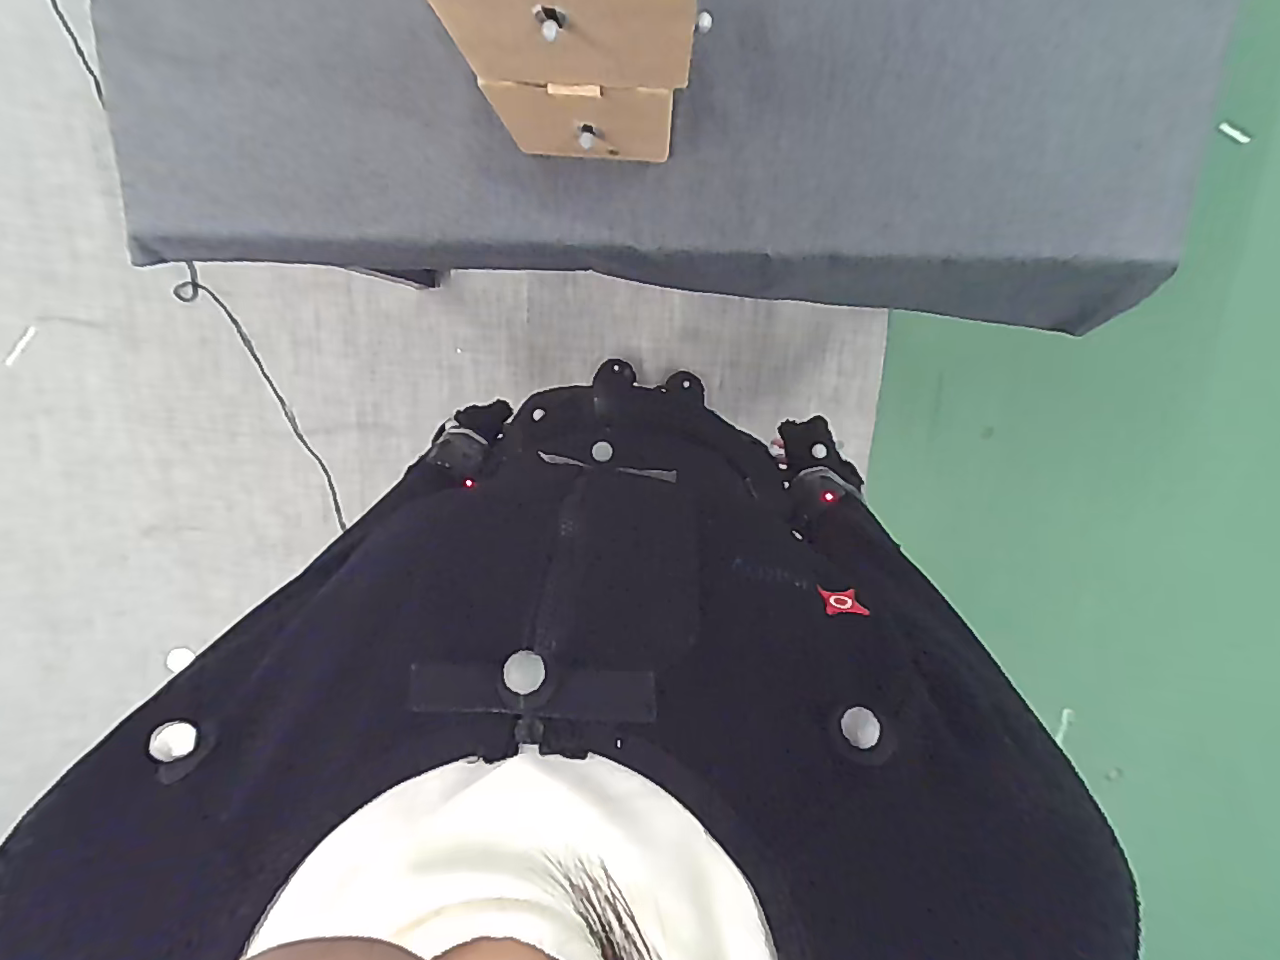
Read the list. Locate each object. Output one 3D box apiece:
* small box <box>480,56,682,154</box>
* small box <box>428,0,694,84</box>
[{"bbox_3d":[-0.043,-0.429,0.508,0.168,0.176,0.179,4,104,3],"label":"small box"},{"bbox_3d":[-0.047,-0.388,0.348,0.179,0.176,0.168,3,103,4],"label":"small box"}]
